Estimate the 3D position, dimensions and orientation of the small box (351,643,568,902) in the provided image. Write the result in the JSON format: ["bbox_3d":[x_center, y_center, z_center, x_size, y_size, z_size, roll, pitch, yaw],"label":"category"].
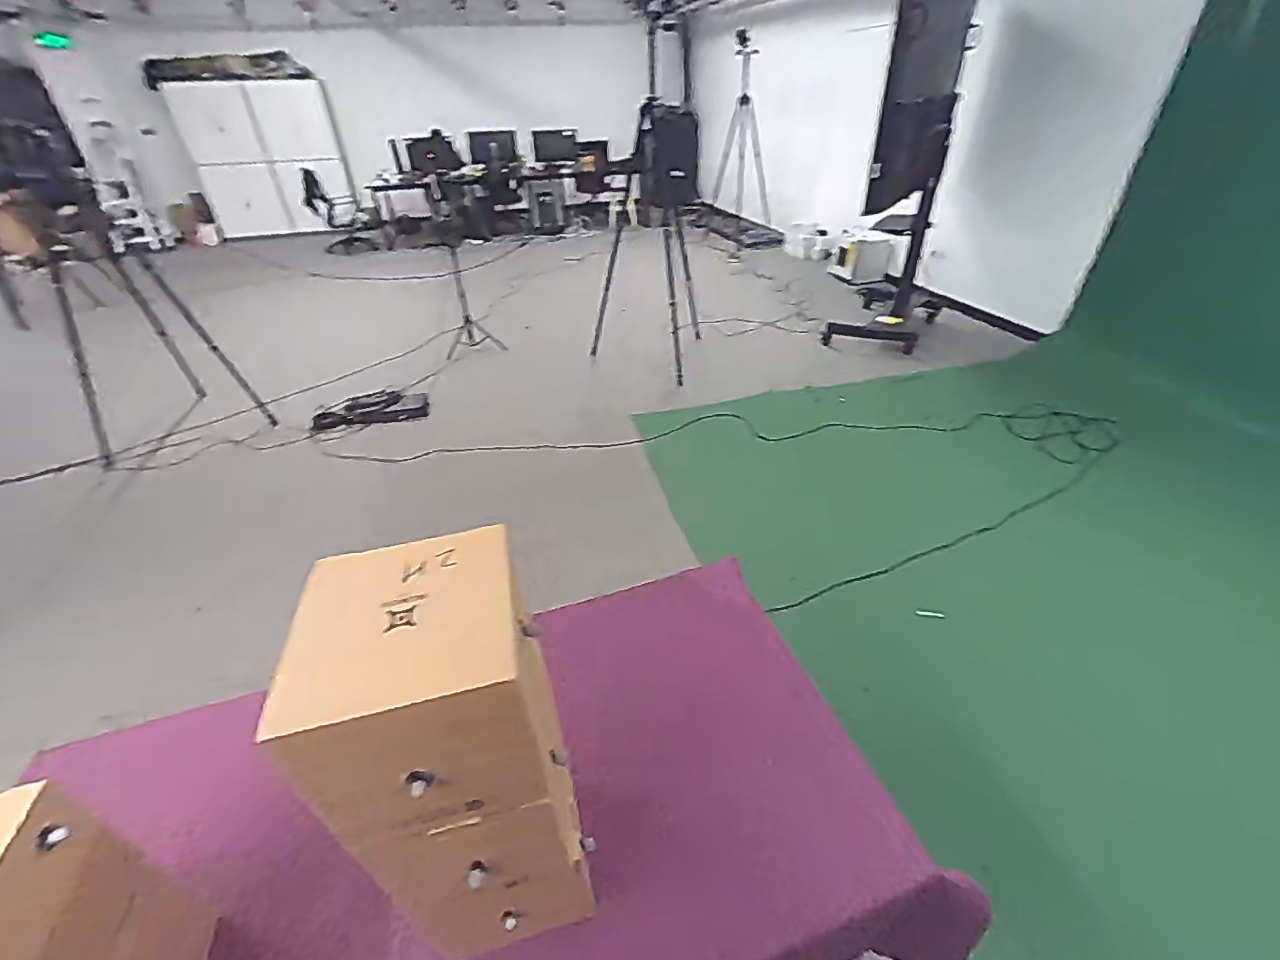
[{"bbox_3d":[-0.172,0.305,0.566,0.168,0.176,0.179,-9,36,-9],"label":"small box"}]

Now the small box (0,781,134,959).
[{"bbox_3d":[-0.593,0.401,0.455,0.168,0.176,0.179,-11,35,-12],"label":"small box"}]

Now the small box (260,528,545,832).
[{"bbox_3d":[-0.181,0.171,0.469,0.168,0.176,0.179,-10,35,-10],"label":"small box"}]

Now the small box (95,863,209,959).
[{"bbox_3d":[-0.589,0.536,0.546,0.179,0.176,0.168,-12,36,-13],"label":"small box"}]
